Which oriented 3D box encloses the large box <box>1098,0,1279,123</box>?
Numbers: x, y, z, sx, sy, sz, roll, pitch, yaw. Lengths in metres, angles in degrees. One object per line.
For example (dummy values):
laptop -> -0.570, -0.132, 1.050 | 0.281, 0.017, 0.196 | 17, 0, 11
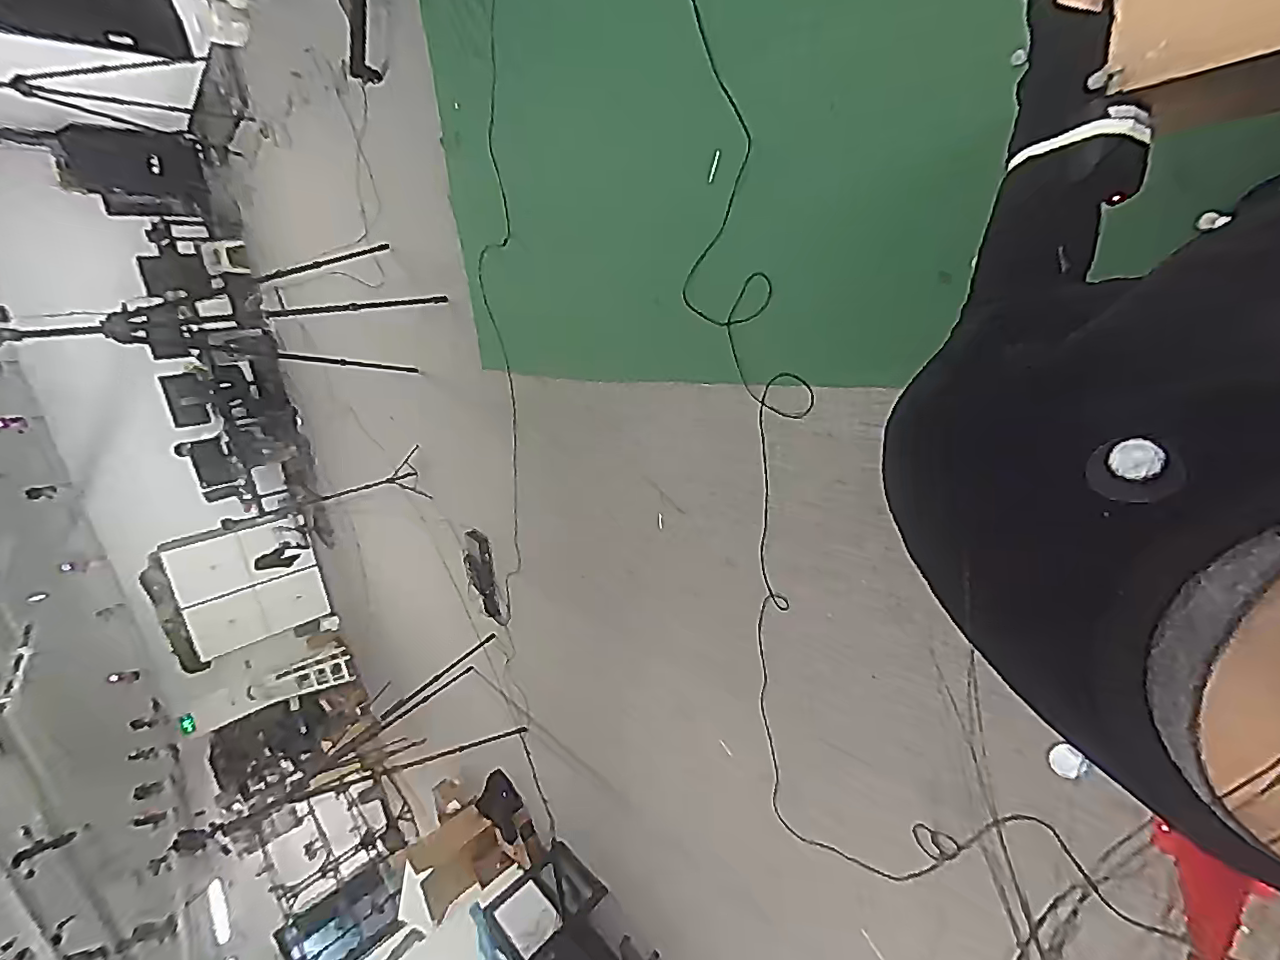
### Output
large box -> 0.589, -0.480, 0.349 | 0.408, 0.320, 0.320 | 10, 115, 42
